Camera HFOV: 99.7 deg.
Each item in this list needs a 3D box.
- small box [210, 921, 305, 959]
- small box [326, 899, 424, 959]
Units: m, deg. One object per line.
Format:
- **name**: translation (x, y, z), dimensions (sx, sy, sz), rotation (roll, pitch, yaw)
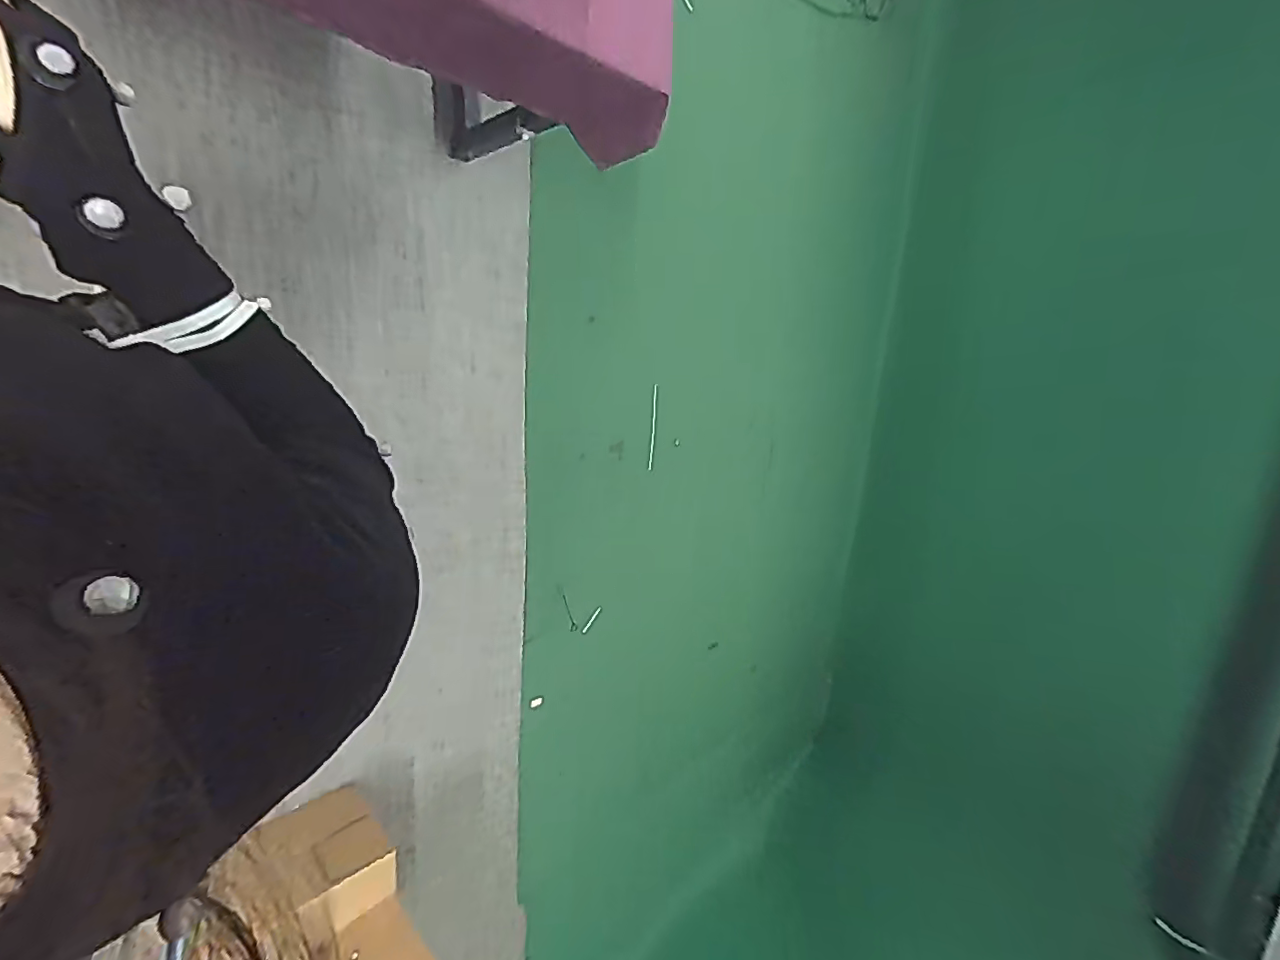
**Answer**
- **small box**: translation (-0.793, 1.084, 1.118), dimensions (0.168, 0.176, 0.179), rotation (-4, 105, -47)
- **small box**: translation (-0.647, 1.196, 1.321), dimensions (0.179, 0.176, 0.168), rotation (-13, 113, -47)
